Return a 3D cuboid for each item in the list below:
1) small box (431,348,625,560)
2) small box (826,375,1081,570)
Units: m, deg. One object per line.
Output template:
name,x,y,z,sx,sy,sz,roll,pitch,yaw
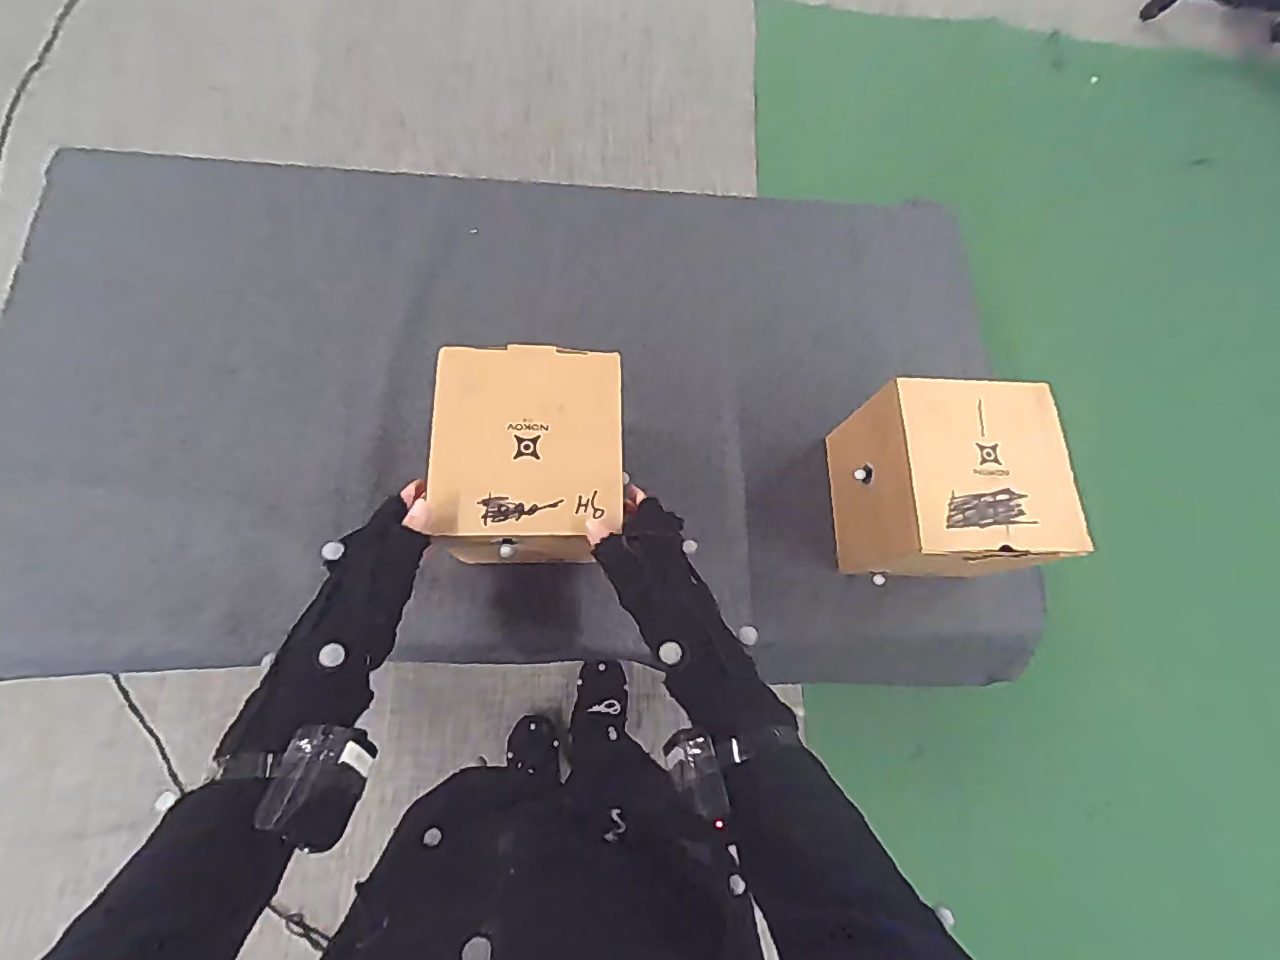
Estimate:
small box,-0.104,-0.015,0.559,0.168,0.176,0.179,0,75,-6
small box,0.322,0.004,0.594,0.168,0.176,0.179,2,73,-5
